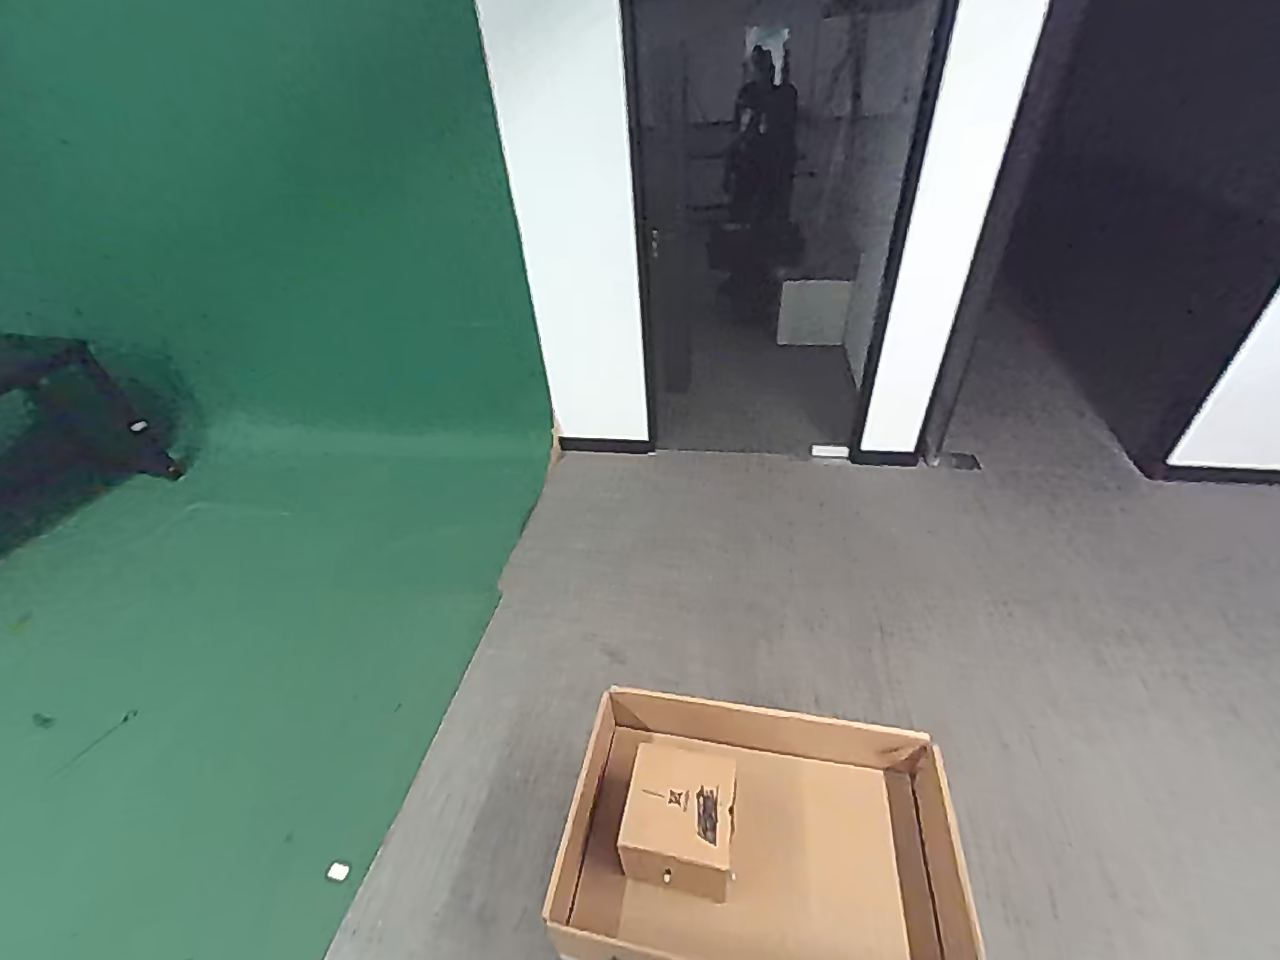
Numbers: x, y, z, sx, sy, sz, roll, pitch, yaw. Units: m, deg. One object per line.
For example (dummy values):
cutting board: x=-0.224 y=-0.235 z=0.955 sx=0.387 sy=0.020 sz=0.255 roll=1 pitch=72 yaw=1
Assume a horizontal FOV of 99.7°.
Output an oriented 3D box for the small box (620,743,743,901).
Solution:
small box: x=0.077 y=0.586 z=0.926 sx=0.179 sy=0.176 sz=0.168 roll=5 pitch=38 yaw=13
